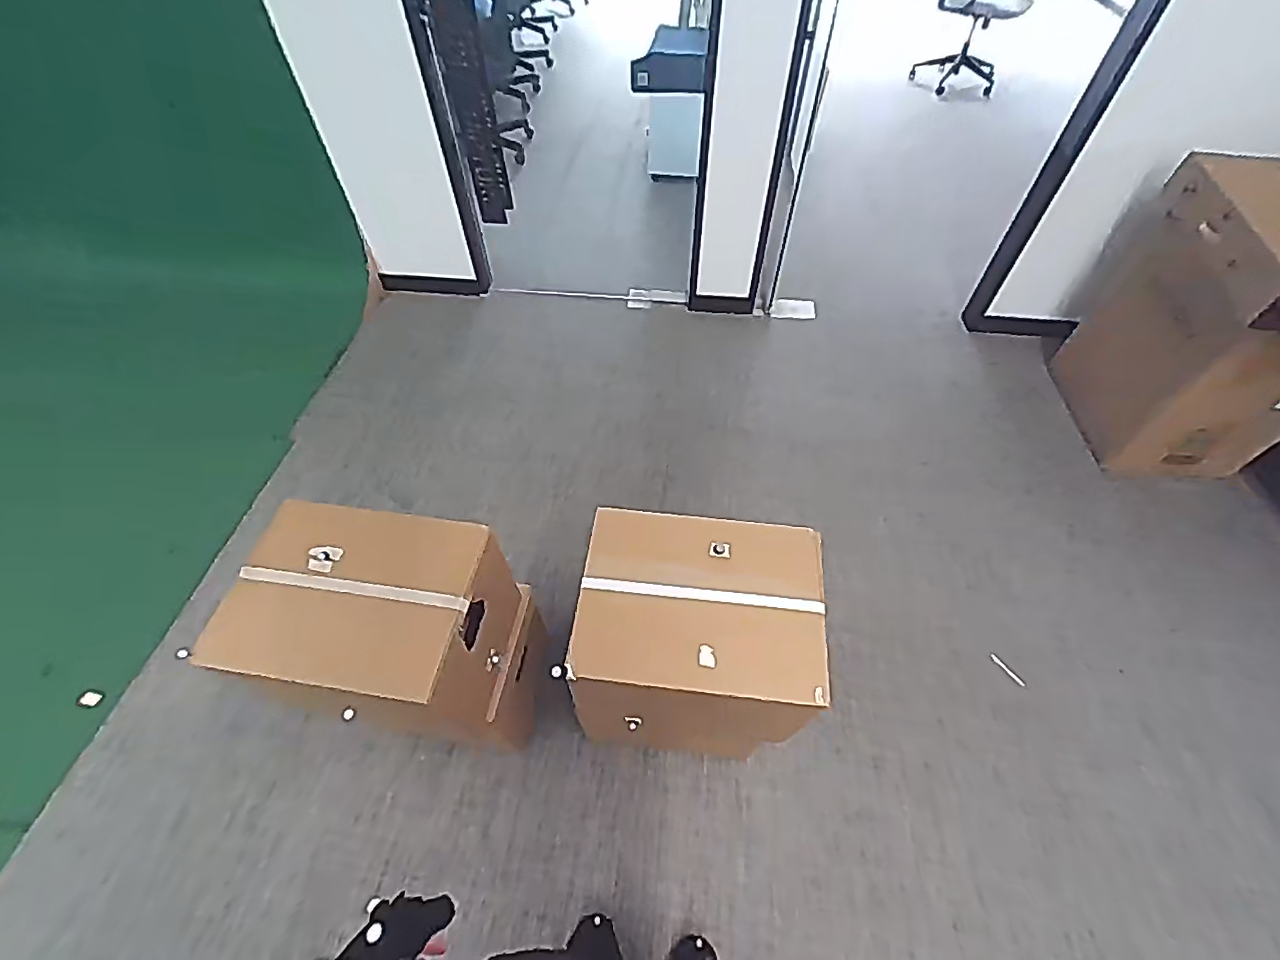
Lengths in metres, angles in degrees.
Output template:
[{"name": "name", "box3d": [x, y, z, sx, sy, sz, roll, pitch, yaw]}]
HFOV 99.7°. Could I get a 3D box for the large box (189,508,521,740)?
[{"name": "large box", "box3d": [-0.484, 0.280, 1.030, 0.408, 0.320, 0.320, 7, 55, 7]}]
